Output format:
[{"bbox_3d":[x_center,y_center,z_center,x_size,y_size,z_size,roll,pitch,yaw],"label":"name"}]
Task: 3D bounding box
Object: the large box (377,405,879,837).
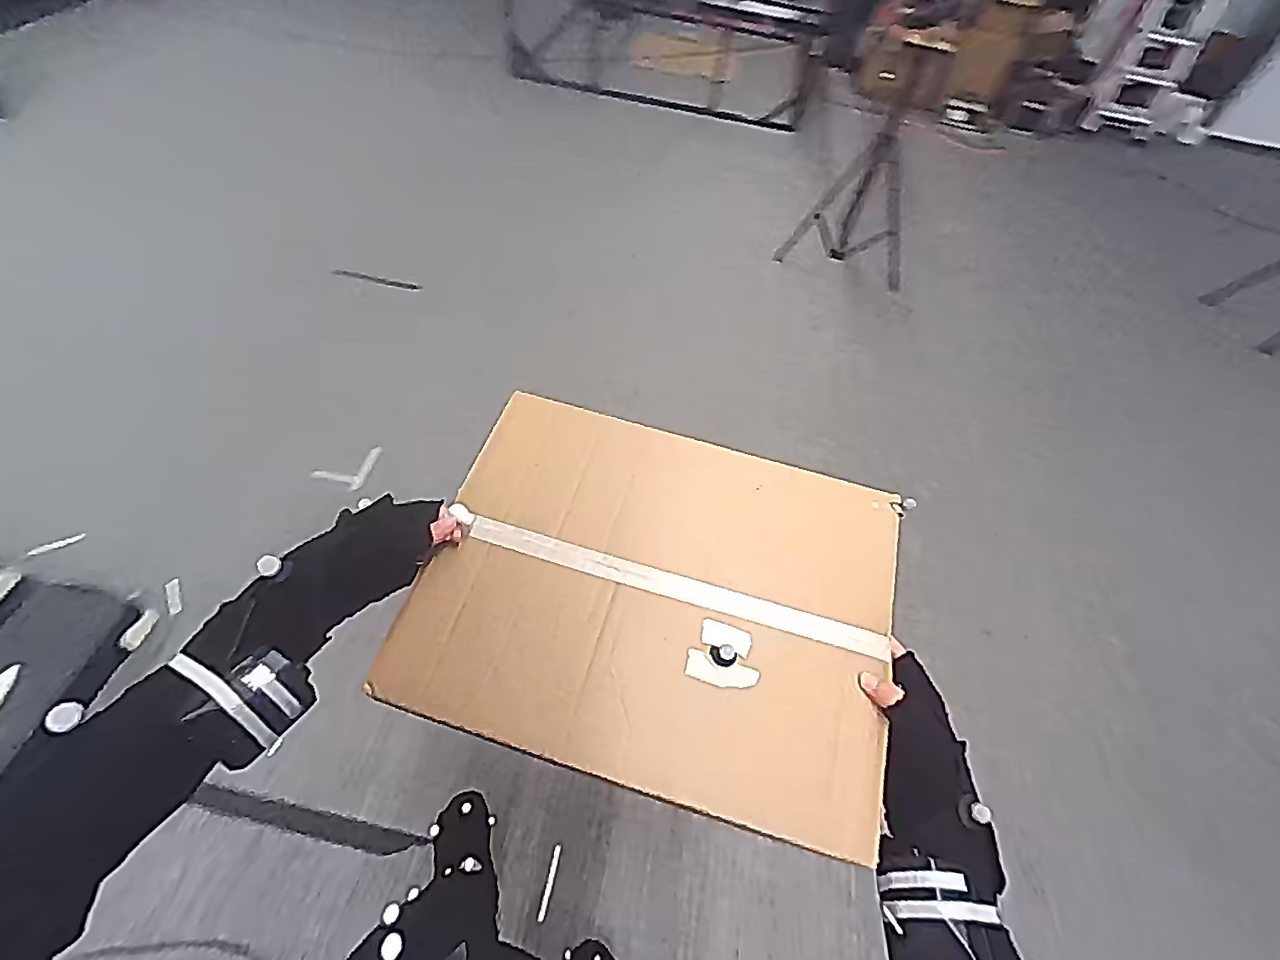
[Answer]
[{"bbox_3d":[0.004,0.166,0.623,0.408,0.320,0.320,16,62,5],"label":"large box"}]
